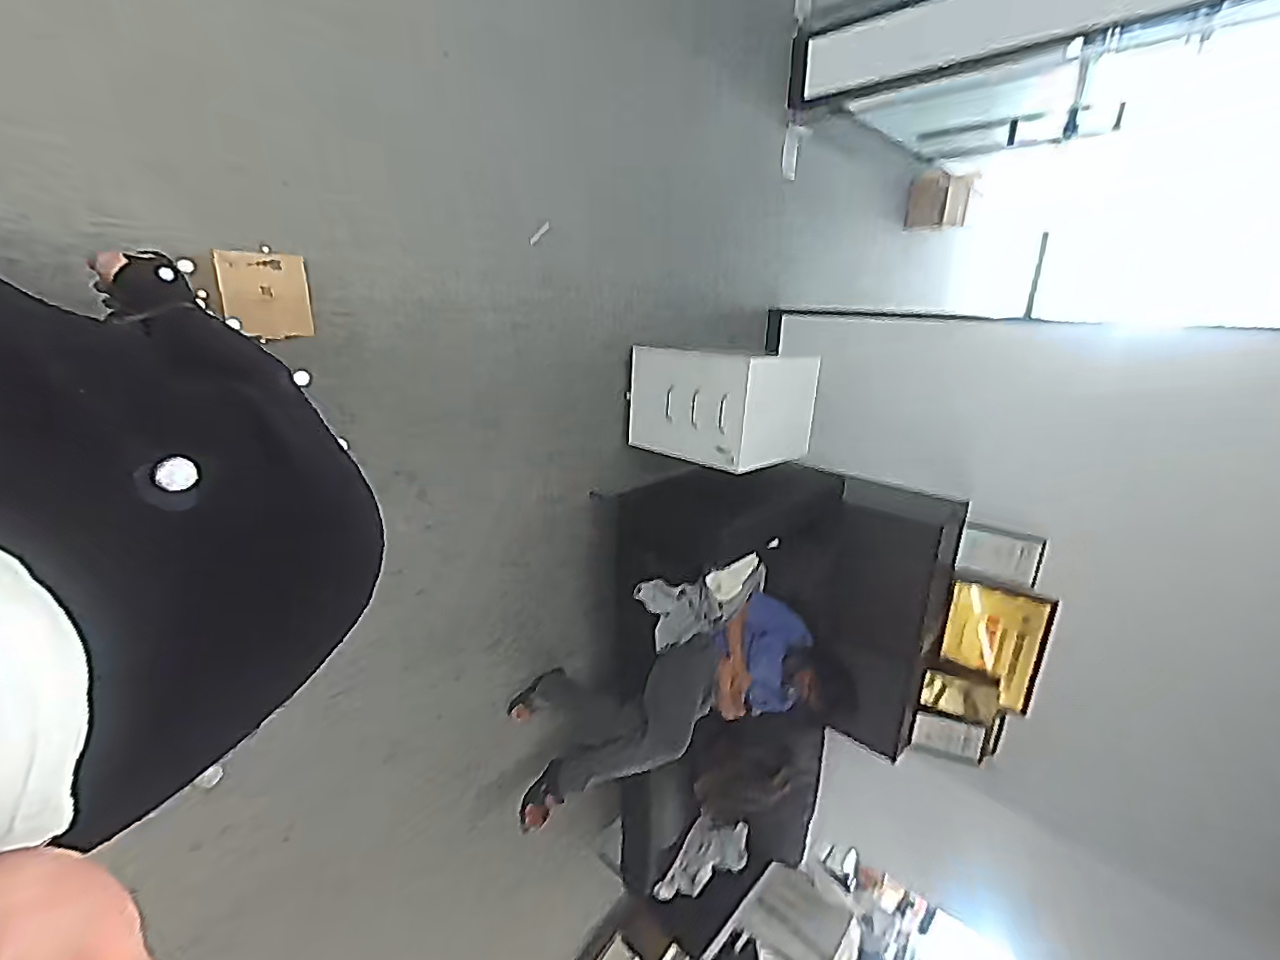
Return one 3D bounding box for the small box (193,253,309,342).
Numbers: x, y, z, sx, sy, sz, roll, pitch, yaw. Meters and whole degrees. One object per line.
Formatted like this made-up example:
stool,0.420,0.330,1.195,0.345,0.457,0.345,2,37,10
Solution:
small box,-0.874,-0.408,1.217,0.168,0.176,0.179,-16,115,-45
